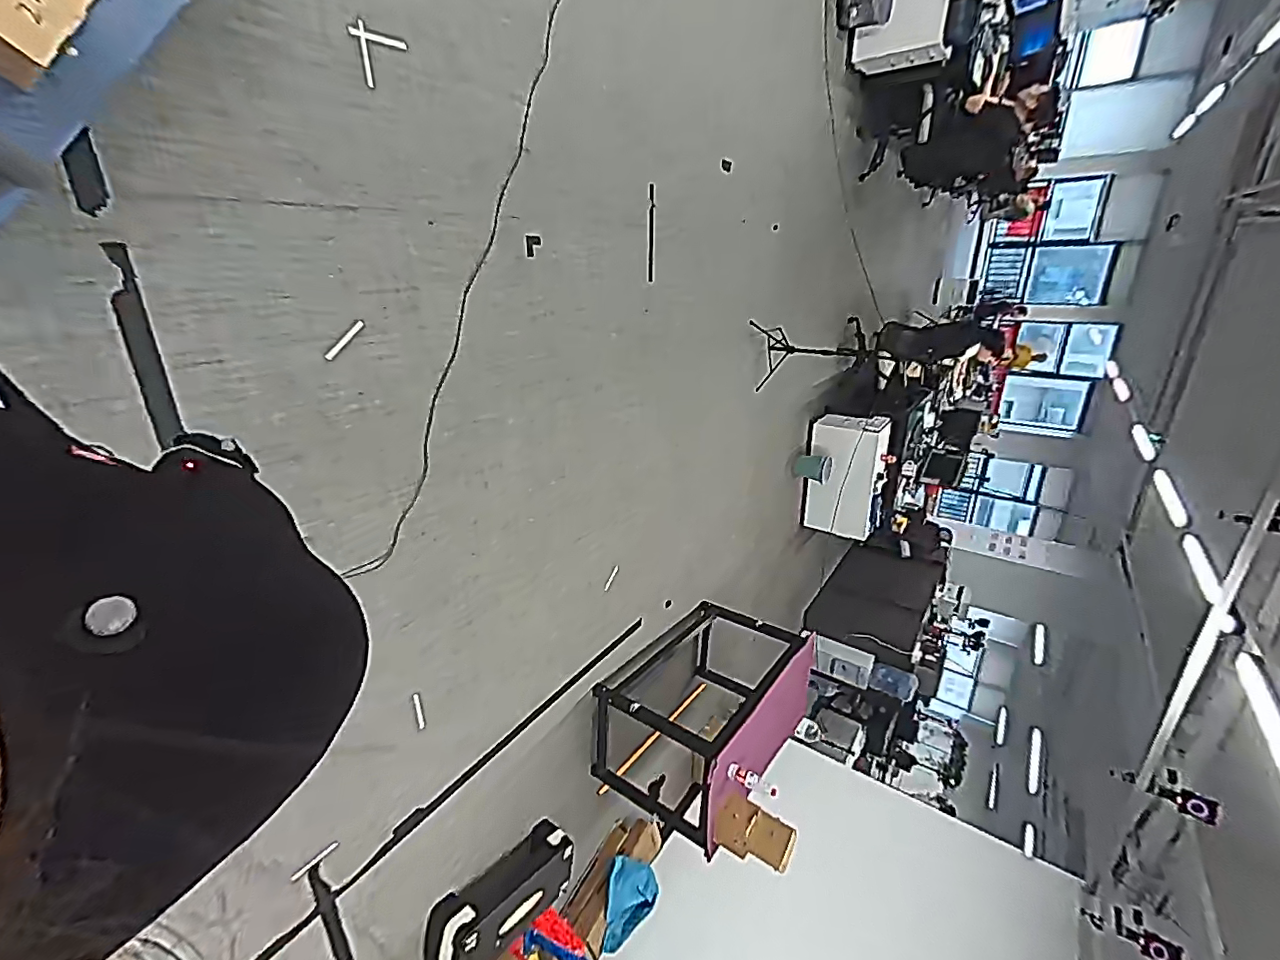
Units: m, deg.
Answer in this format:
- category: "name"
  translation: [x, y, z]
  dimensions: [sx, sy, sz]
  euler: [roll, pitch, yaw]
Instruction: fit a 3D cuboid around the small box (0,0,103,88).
- category: "small box"
  translation: [-0.872, -0.669, 0.716]
  dimensions: [0.179, 0.176, 0.168]
  euler: [38, 71, -54]
